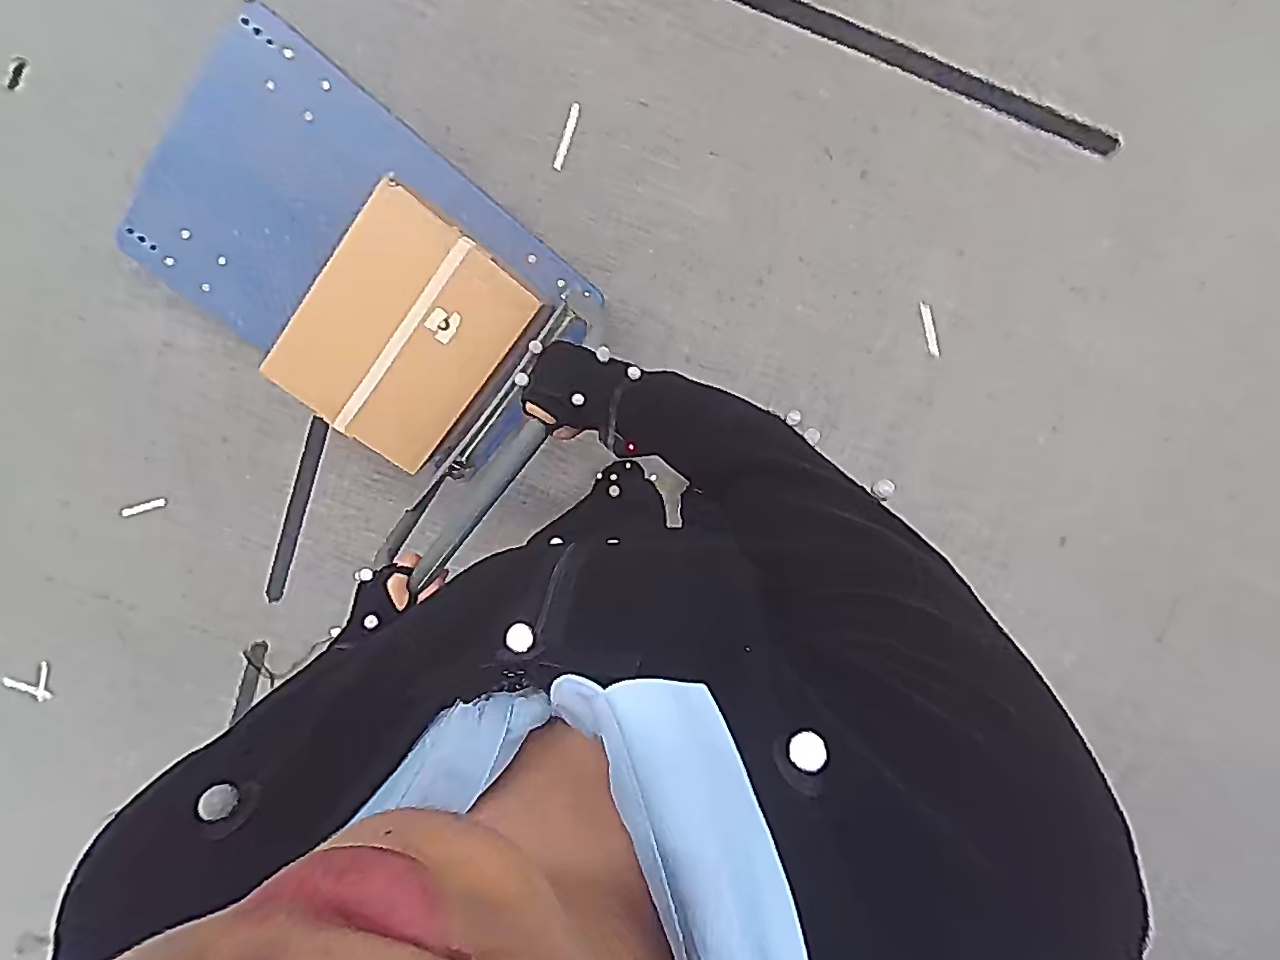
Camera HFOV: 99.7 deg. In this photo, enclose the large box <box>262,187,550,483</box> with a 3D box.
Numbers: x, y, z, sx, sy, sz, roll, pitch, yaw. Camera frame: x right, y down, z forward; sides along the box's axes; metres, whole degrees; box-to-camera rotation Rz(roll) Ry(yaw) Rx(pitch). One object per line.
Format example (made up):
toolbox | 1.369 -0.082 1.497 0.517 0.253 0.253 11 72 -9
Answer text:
large box | -0.427 -0.269 1.072 0.320 0.320 0.408 37 100 -15
